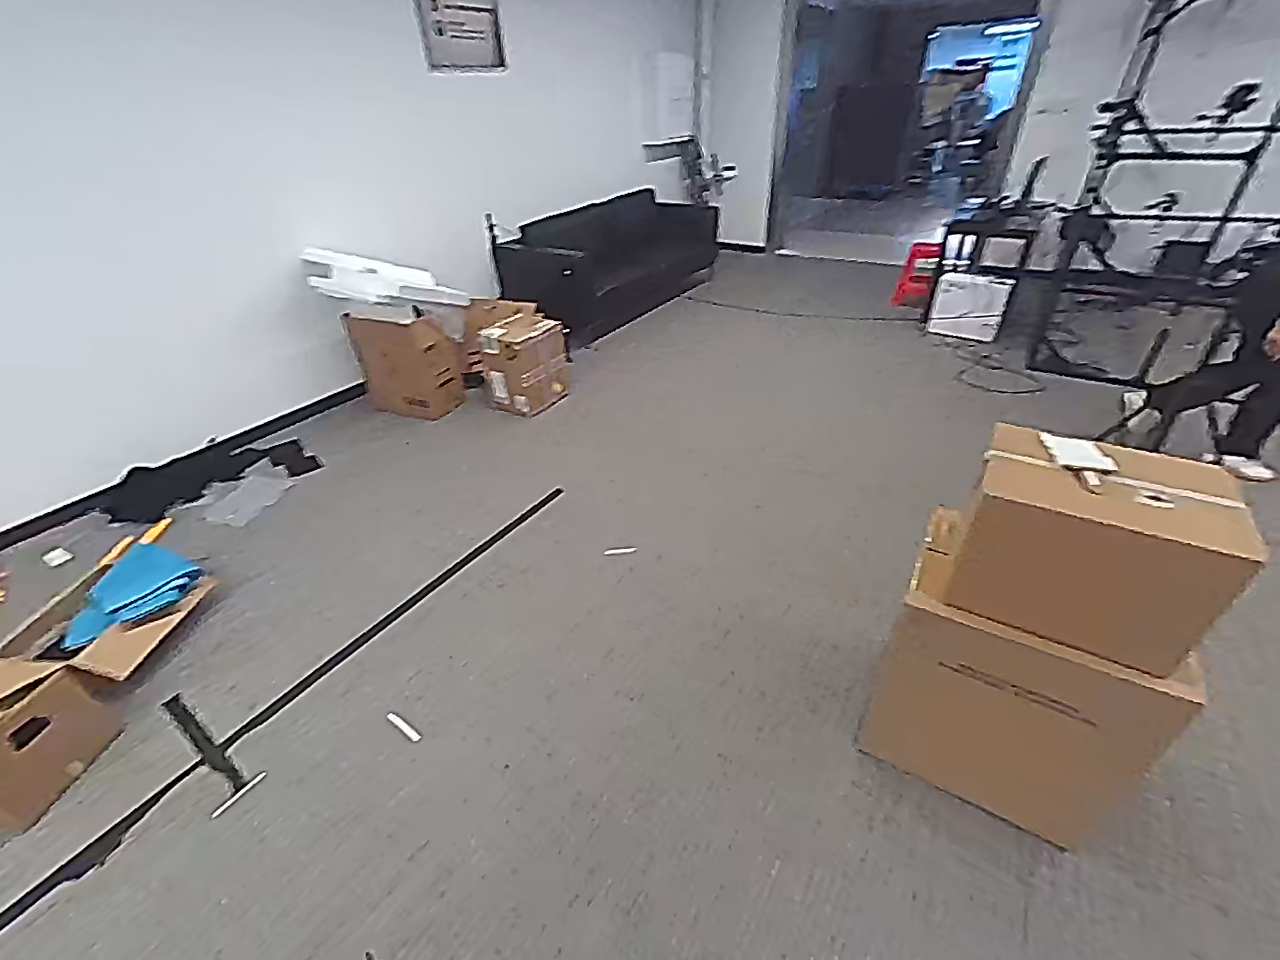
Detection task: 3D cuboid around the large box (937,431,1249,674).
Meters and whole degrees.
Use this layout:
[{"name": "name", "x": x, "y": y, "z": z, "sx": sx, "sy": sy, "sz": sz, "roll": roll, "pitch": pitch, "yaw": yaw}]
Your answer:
[{"name": "large box", "x": 0.909, "y": 0.134, "z": 1.157, "sx": 0.408, "sy": 0.320, "sz": 0.320, "roll": 18, "pitch": 40, "yaw": 27}]
